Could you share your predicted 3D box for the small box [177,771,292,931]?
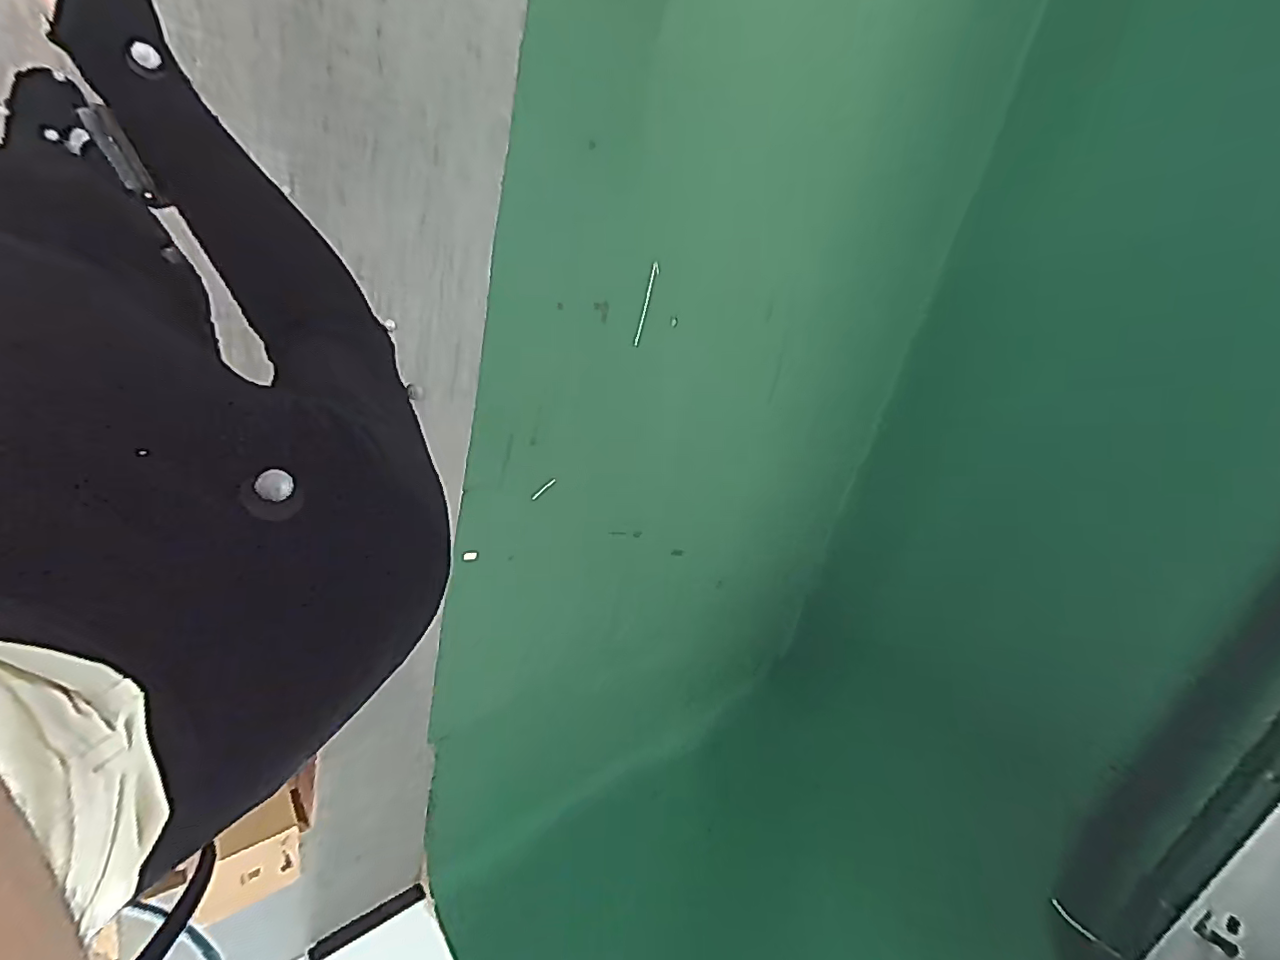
[{"bbox_3d":[-0.832,0.748,1.110,0.179,0.176,0.168,-6,118,-42],"label":"small box"}]
